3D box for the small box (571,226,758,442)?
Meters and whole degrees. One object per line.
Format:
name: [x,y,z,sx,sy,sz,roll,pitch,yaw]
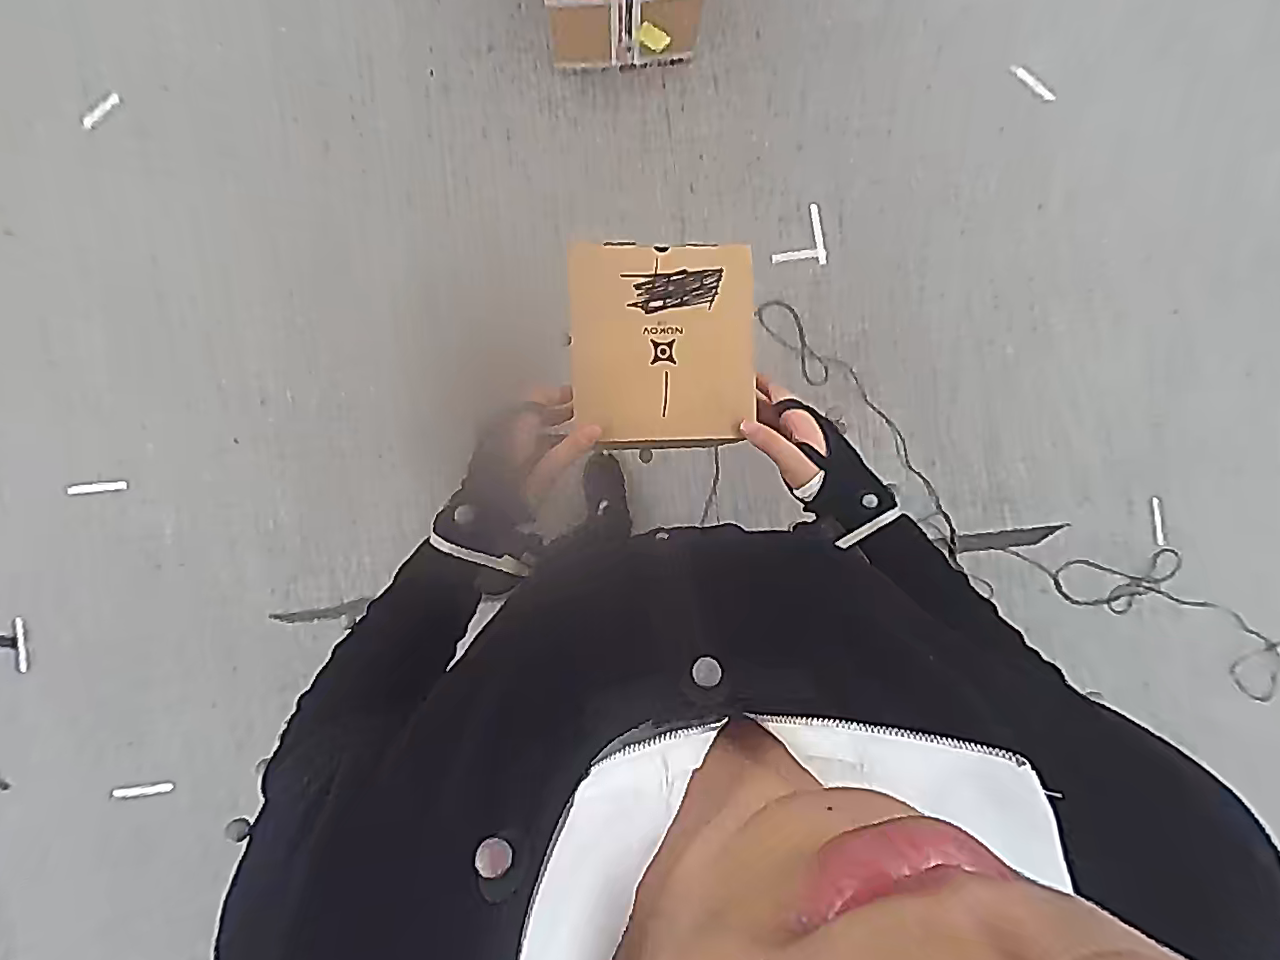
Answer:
small box: [0.013,-0.132,0.548,0.168,0.176,0.179,-2,91,-6]
